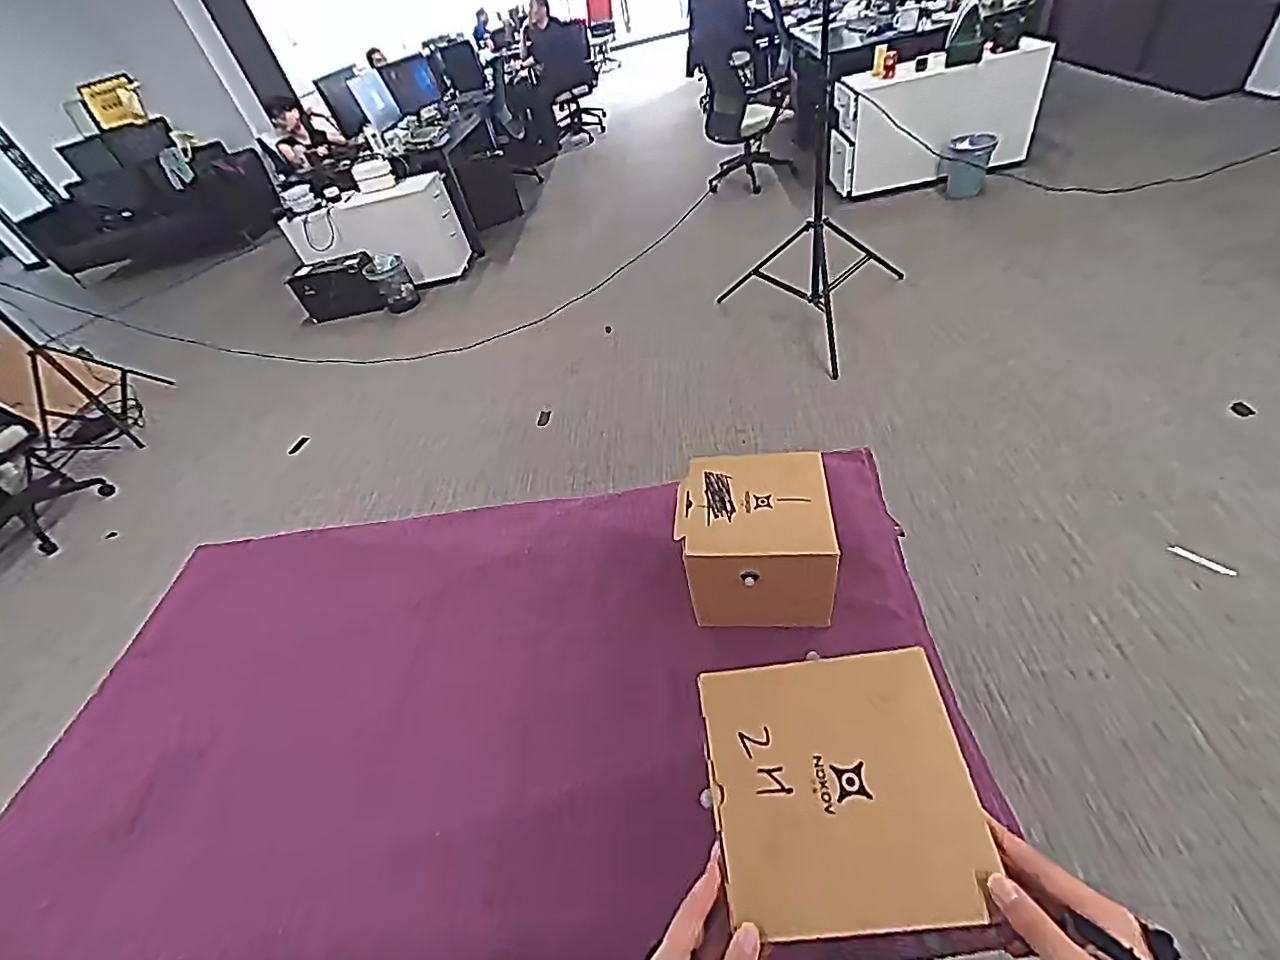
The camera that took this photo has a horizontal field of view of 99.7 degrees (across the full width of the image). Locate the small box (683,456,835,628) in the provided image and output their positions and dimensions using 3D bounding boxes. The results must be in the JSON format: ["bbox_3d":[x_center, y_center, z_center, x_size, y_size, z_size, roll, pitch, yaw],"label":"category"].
[{"bbox_3d":[0.158,0.087,0.729,0.179,0.176,0.168,-3,47,11],"label":"small box"}]

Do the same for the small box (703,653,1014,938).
[{"bbox_3d":[0.152,0.253,0.446,0.179,0.176,0.168,-9,57,6],"label":"small box"}]
